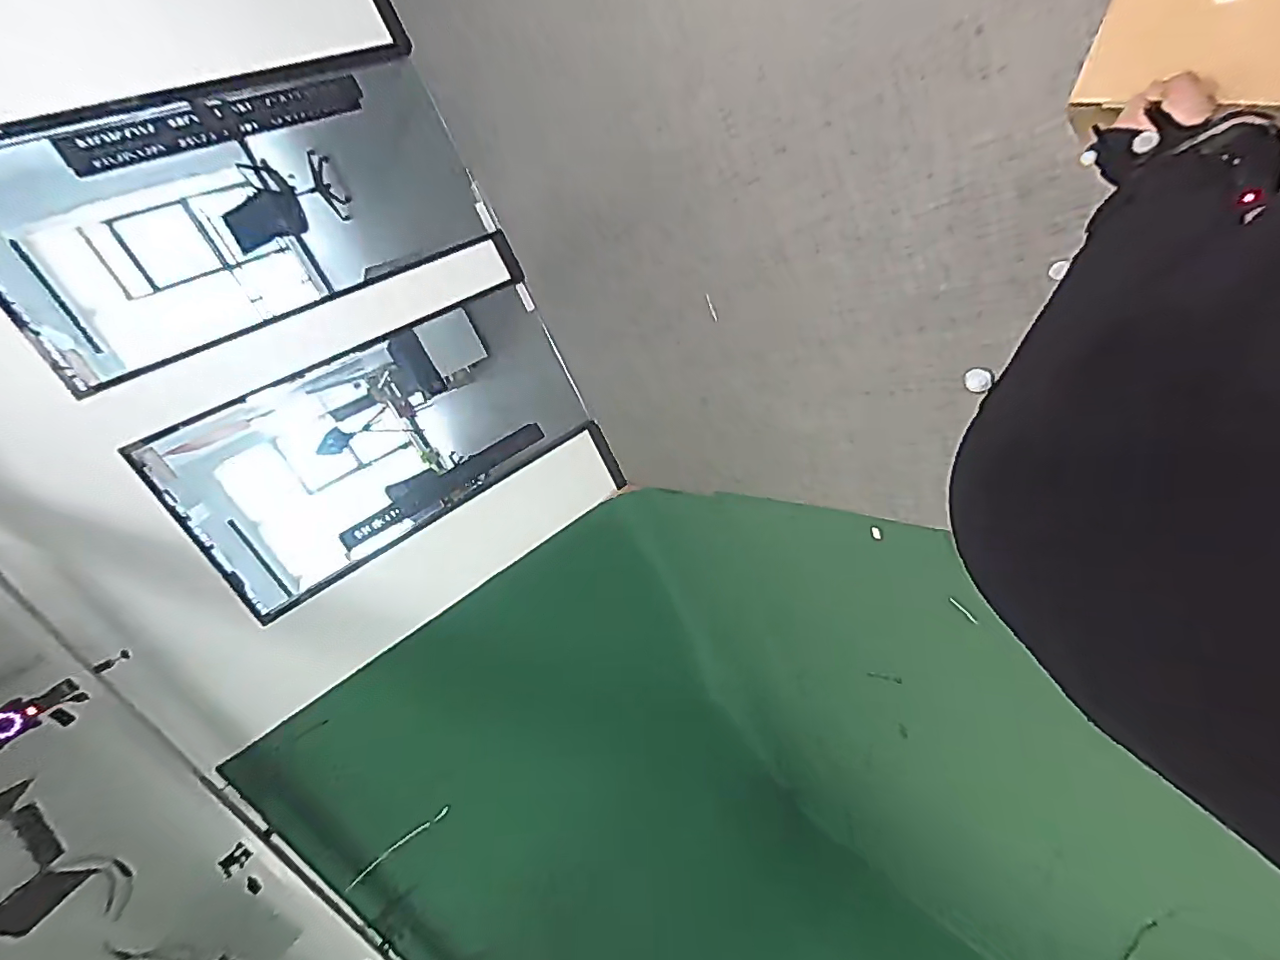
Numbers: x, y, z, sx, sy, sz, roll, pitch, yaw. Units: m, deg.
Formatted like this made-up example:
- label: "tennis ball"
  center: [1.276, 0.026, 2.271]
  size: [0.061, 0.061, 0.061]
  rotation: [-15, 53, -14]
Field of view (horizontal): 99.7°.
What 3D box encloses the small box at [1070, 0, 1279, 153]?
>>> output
- label: "small box"
  center: [0.549, -0.427, 0.514]
  size: [0.168, 0.179, 0.176]
  rotation: [28, 121, 34]
